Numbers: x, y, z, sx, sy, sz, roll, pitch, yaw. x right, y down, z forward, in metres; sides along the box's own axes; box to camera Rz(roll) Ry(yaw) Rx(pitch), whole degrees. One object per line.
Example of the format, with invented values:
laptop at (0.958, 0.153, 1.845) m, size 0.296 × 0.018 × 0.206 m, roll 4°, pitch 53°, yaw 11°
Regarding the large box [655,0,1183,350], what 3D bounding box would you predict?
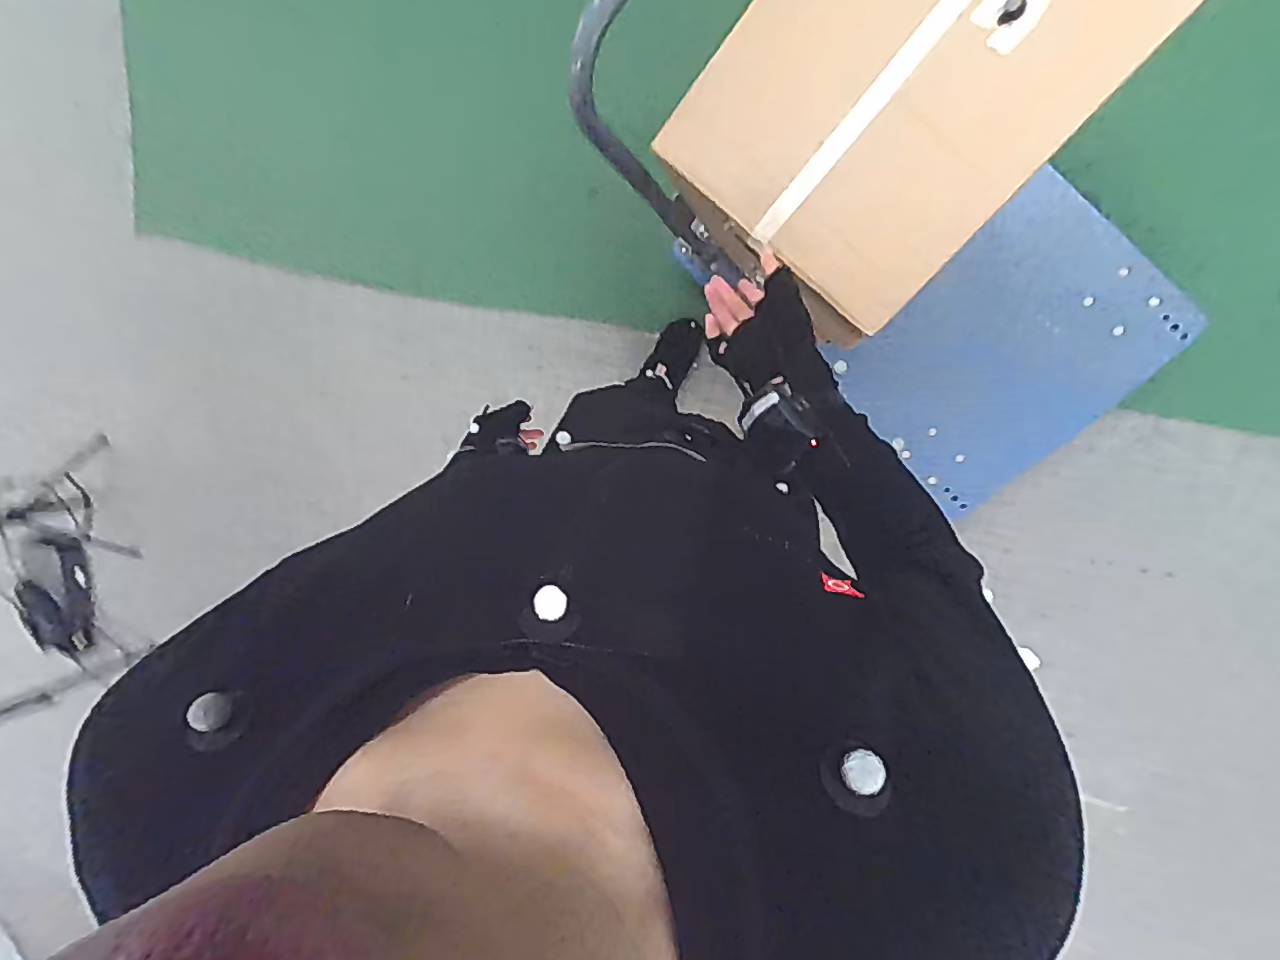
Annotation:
large box at (0.286, -0.416, 0.642) m, size 0.320 × 0.320 × 0.408 m, roll 43°, pitch 108°, yaw 6°
